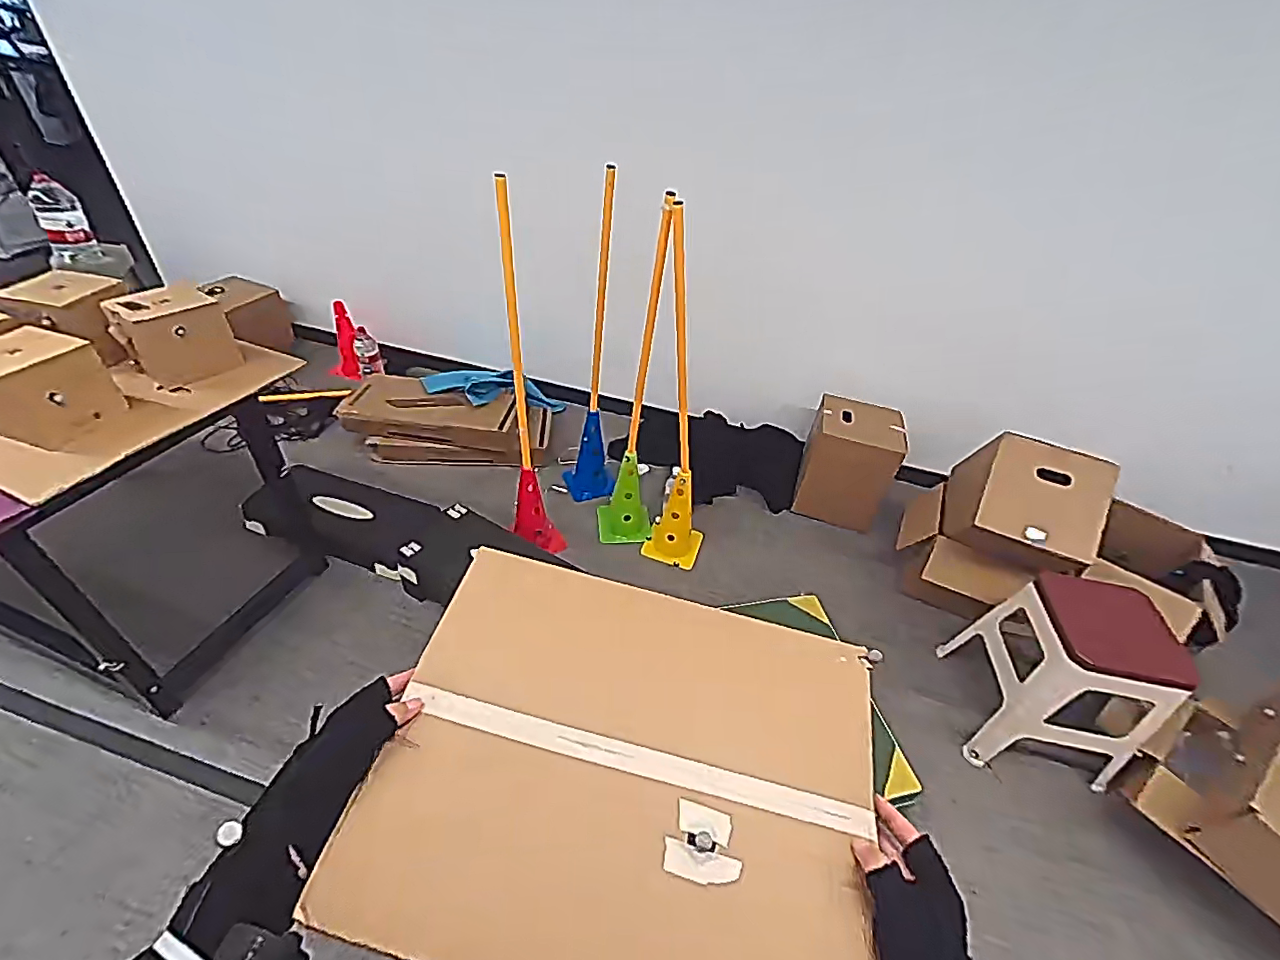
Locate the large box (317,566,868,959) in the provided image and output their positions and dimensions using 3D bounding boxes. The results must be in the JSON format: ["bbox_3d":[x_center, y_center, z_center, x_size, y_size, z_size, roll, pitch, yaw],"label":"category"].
[{"bbox_3d":[-0.023,0.340,0.575,0.408,0.320,0.320,14,50,4],"label":"large box"}]
